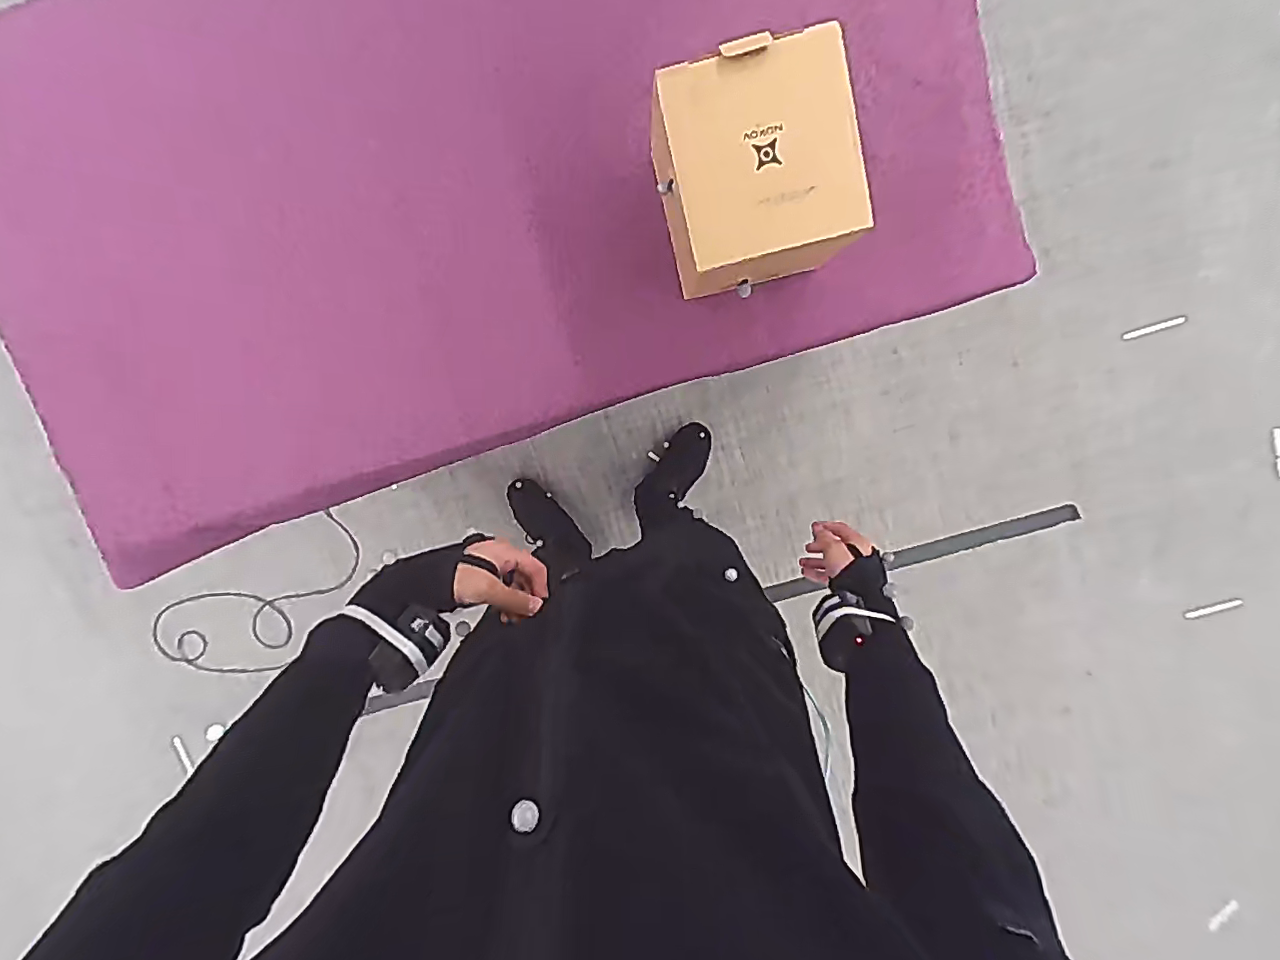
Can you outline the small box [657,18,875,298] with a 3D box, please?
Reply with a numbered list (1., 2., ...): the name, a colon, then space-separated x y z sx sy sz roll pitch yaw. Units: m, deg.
1. small box: 0.113 -0.303 0.550 0.168 0.176 0.179 -12 99 3
